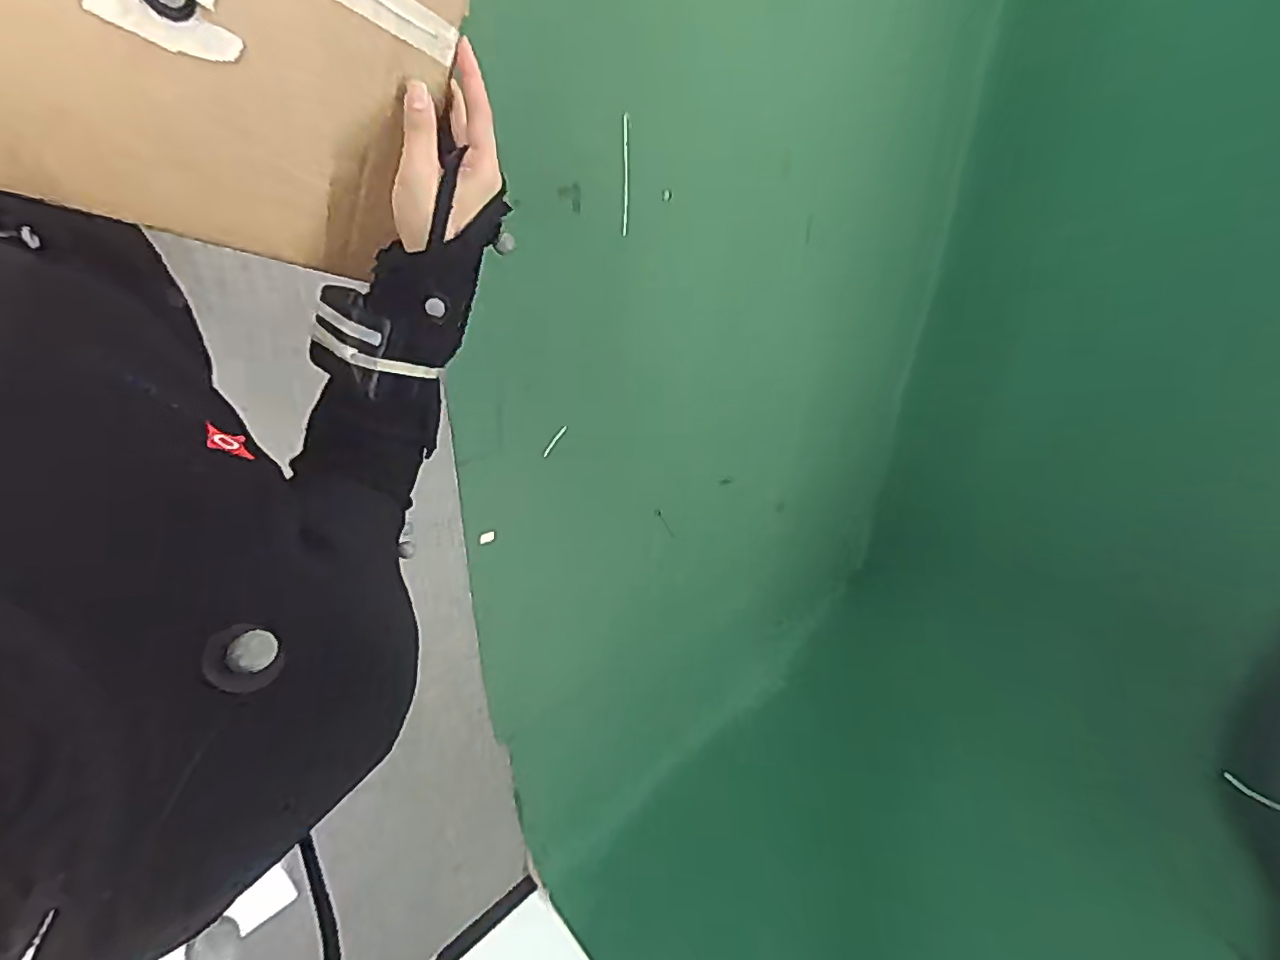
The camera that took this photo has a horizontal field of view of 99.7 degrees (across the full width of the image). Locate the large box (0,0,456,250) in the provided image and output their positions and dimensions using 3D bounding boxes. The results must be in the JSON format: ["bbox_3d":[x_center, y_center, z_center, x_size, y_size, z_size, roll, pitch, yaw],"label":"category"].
[{"bbox_3d":[-0.347,-0.367,0.272,0.408,0.320,0.320,-3,127,-50],"label":"large box"}]
